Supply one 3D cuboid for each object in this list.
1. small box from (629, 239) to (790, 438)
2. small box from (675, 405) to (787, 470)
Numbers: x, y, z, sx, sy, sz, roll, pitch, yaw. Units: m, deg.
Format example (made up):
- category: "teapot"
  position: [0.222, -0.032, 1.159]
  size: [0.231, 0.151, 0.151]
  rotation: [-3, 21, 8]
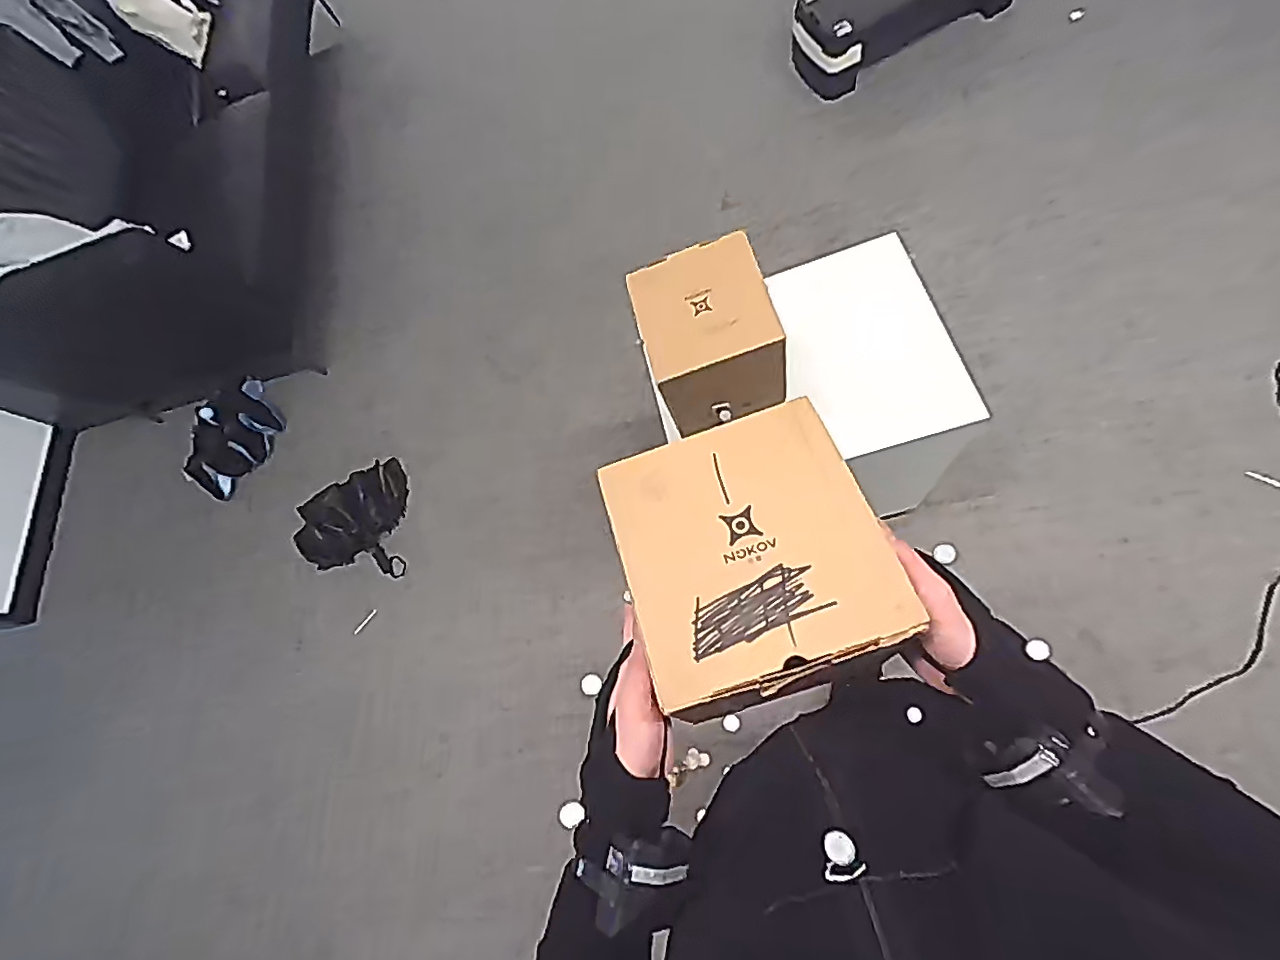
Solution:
- category: "small box"
  position: [0.101, -0.185, 0.750]
  size: [0.168, 0.176, 0.179]
  rotation: [-19, 69, 11]
- category: "small box"
  position: [0.139, -0.140, 0.901]
  size: [0.168, 0.176, 0.179]
  rotation: [-17, 67, 10]
